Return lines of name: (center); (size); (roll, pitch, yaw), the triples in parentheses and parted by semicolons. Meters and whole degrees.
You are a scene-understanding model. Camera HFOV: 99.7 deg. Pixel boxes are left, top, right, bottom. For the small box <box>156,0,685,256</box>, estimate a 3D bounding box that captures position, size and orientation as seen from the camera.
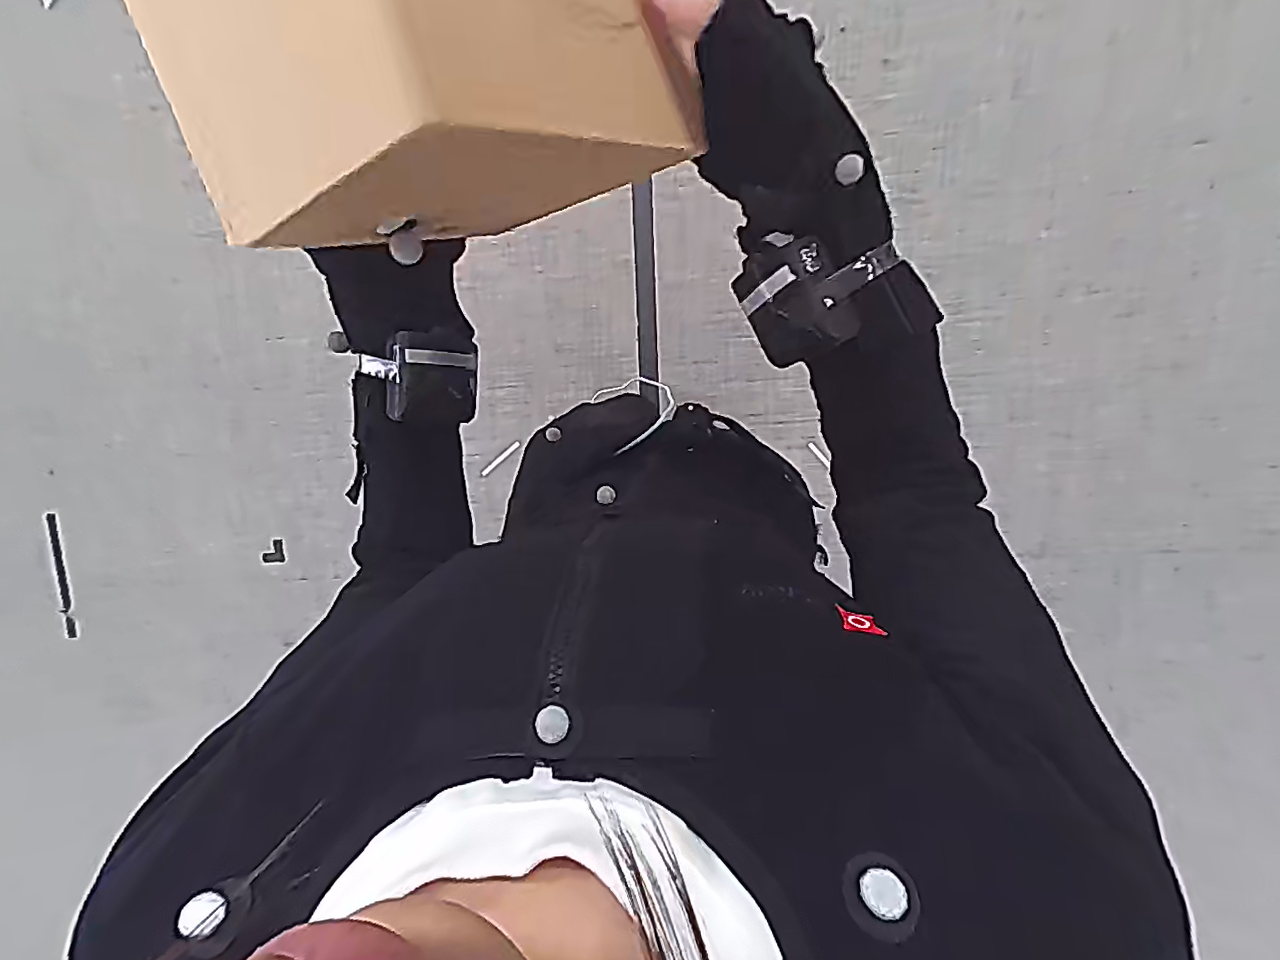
small box: (-0.106, -0.221, 0.253); (0.176, 0.168, 0.179); (4, 115, 42)
